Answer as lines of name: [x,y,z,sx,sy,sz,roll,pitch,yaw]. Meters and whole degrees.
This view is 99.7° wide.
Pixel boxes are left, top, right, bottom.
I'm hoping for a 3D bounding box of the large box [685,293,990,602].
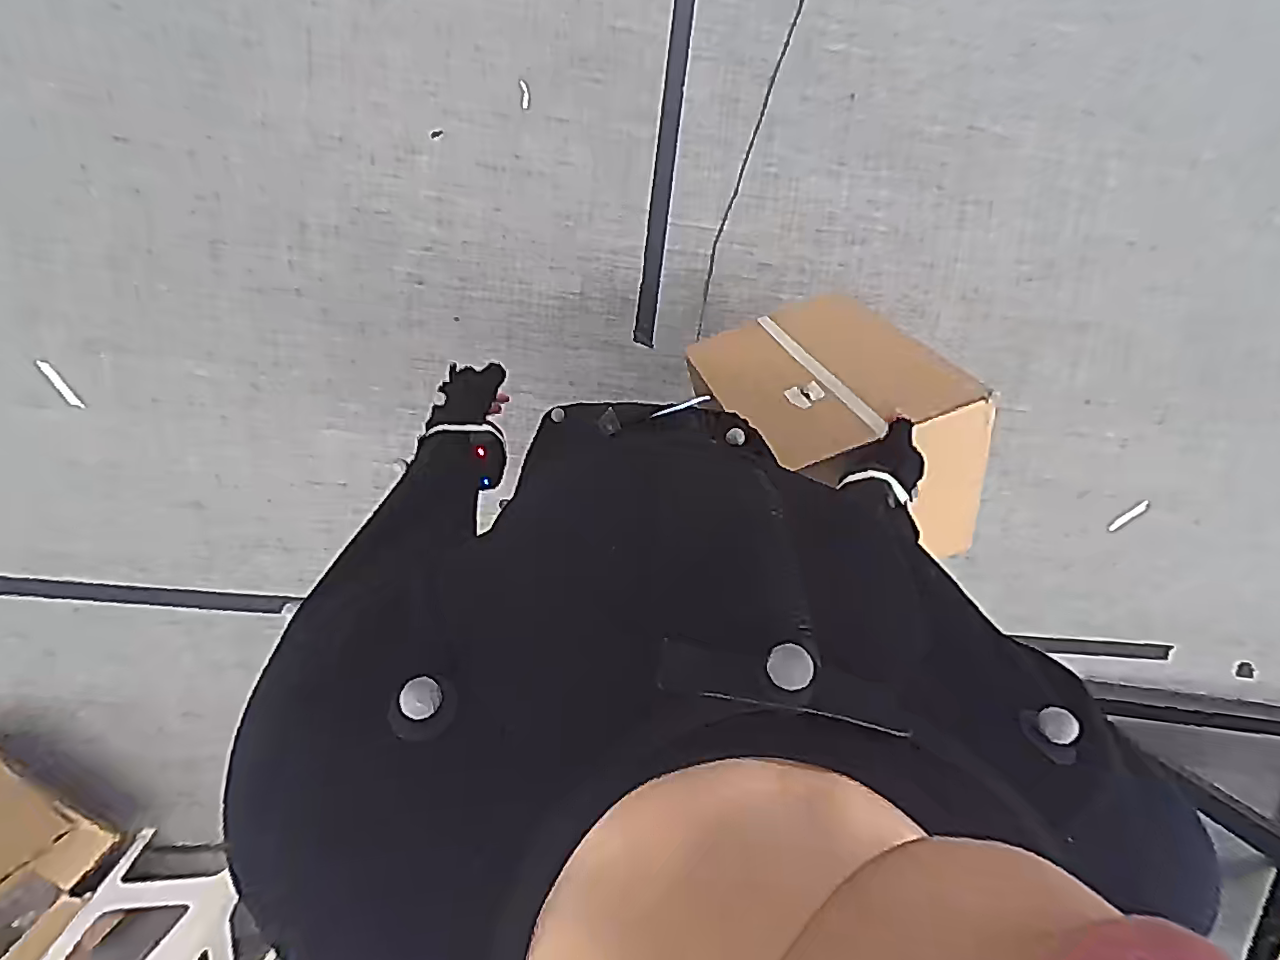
large box: [0.311,-0.070,0.955,0.320,0.408,0.320,-22,131,1]
